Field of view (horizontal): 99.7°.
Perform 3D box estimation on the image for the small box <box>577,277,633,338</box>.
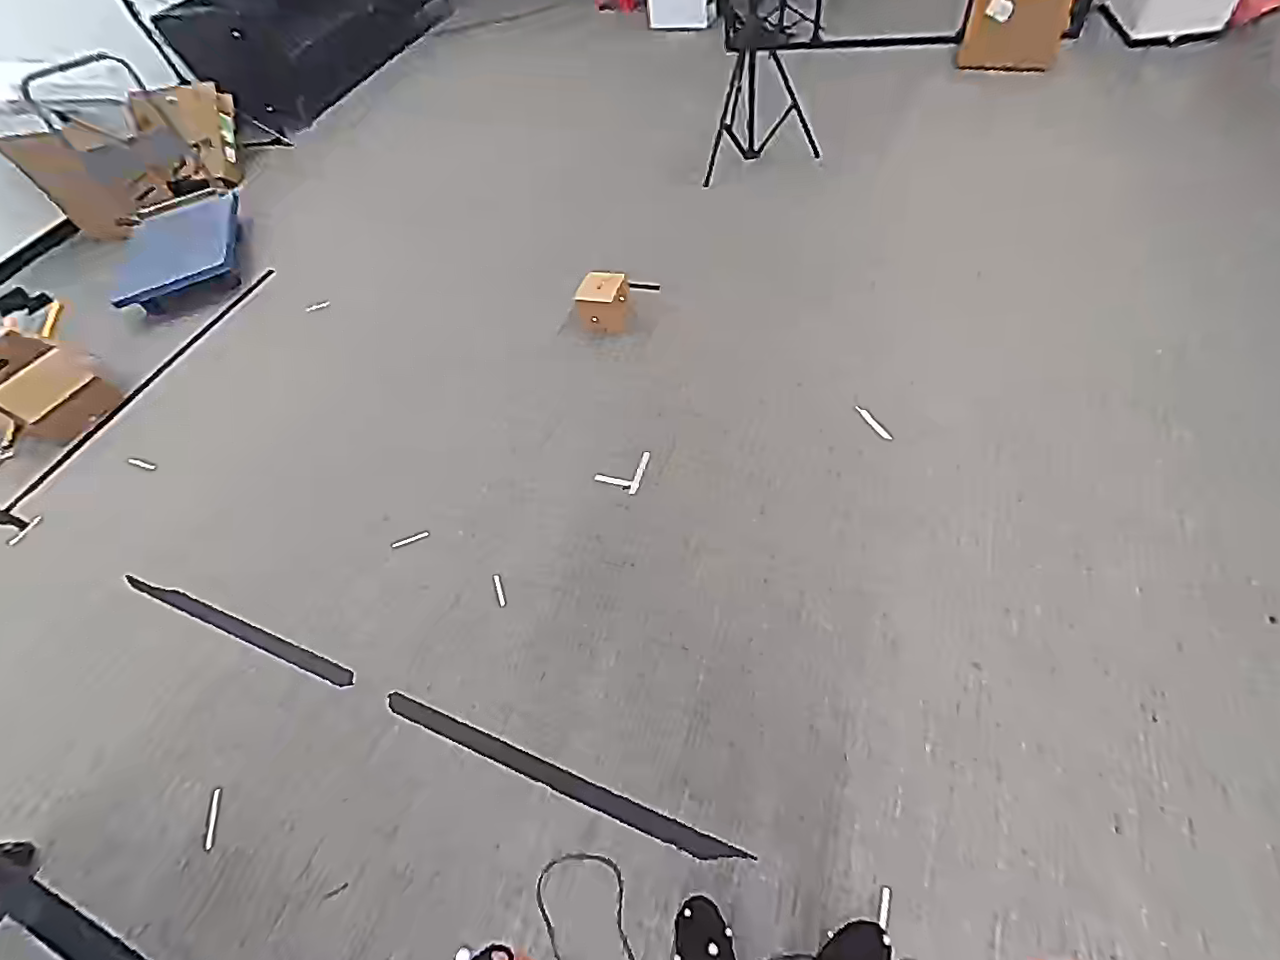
[{"bbox_3d":[-0.137,-0.708,2.222,0.168,0.176,0.179,12,58,17],"label":"small box"}]
